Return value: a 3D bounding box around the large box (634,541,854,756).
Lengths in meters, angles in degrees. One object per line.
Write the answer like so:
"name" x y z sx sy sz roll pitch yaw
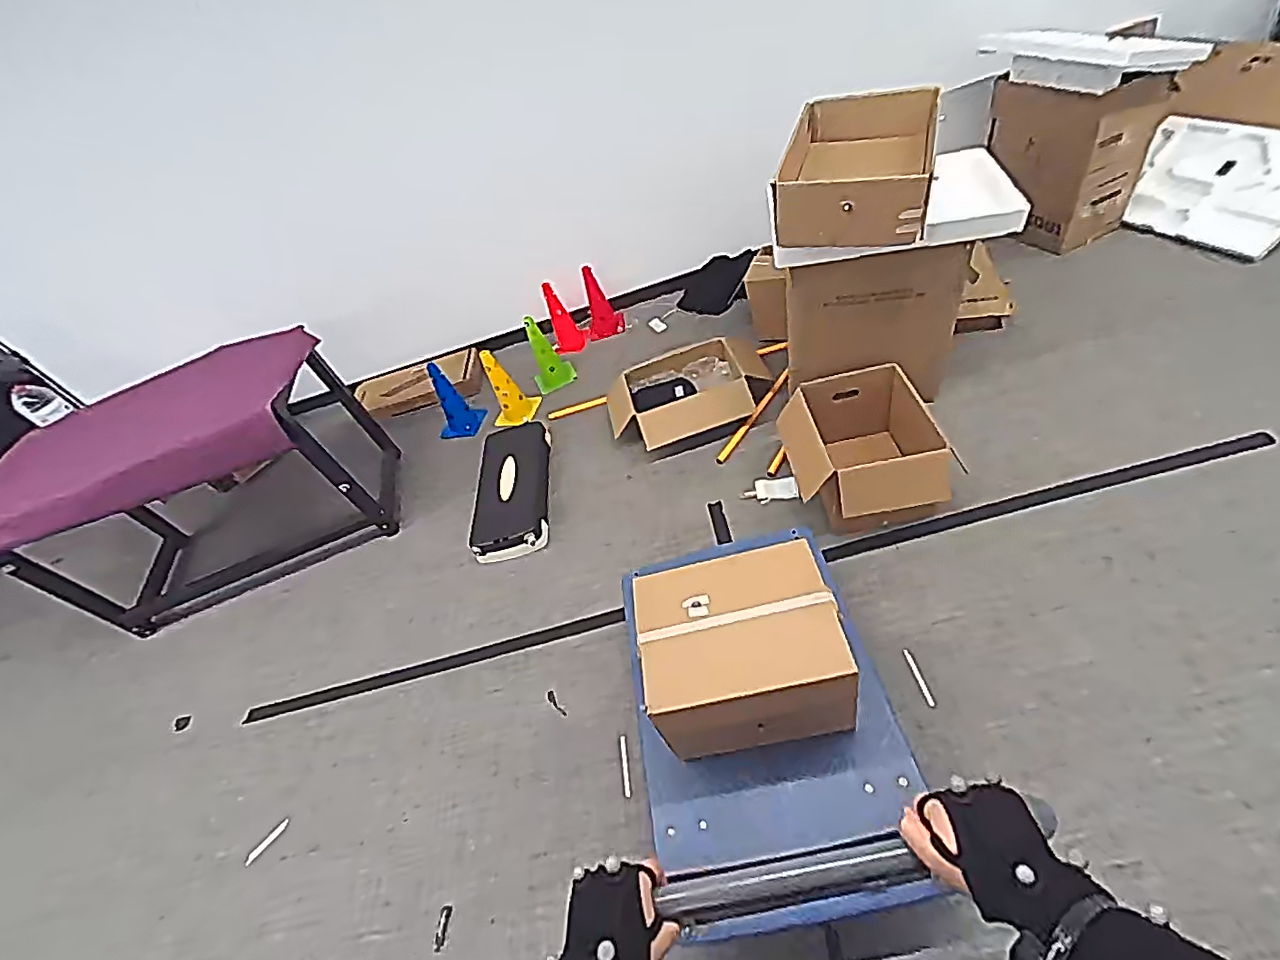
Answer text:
"large box" 0.231 0.392 1.234 0.408 0.320 0.320 -15 45 7
